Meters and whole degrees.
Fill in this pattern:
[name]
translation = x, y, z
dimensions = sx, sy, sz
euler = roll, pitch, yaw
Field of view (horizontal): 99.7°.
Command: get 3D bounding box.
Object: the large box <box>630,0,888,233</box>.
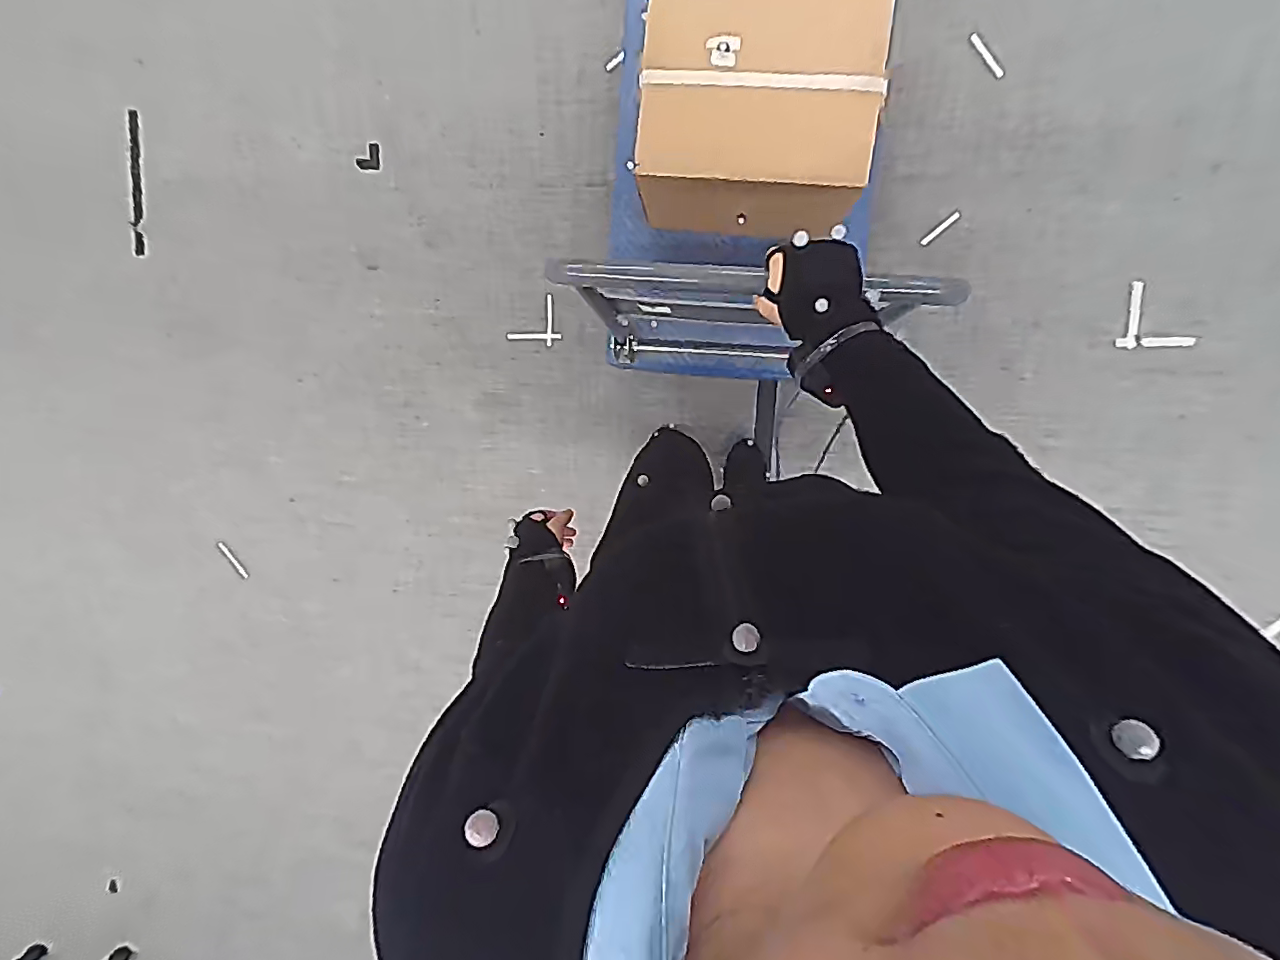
[large box]
translation = 0.213, -0.690, 1.046
dimensions = 0.408, 0.320, 0.320
euler = 7, 97, 7
